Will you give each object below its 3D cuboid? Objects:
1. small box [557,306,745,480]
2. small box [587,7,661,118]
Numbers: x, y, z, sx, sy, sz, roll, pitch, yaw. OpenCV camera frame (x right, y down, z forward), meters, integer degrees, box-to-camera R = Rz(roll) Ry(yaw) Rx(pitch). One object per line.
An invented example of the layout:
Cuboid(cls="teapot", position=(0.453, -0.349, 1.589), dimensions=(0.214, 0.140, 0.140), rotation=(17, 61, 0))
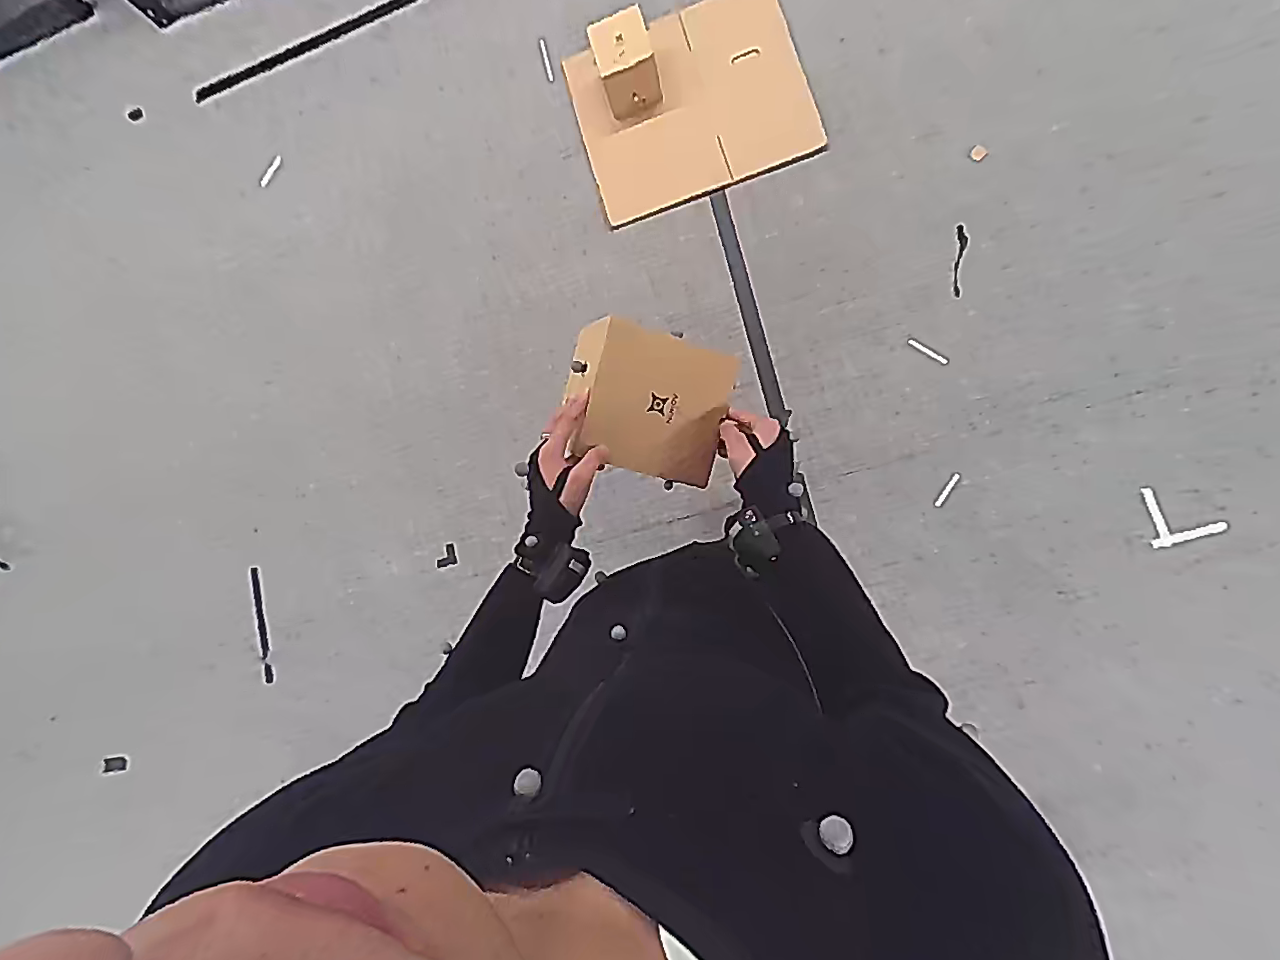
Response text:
Cuboid(cls="small box", position=(0.002, -0.108, 0.704), dimensions=(0.179, 0.176, 0.168), rotation=(14, 95, -21))
Cuboid(cls="small box", position=(-0.044, -1.265, 1.650), dimensions=(0.168, 0.176, 0.179), rotation=(-17, 83, 10))
